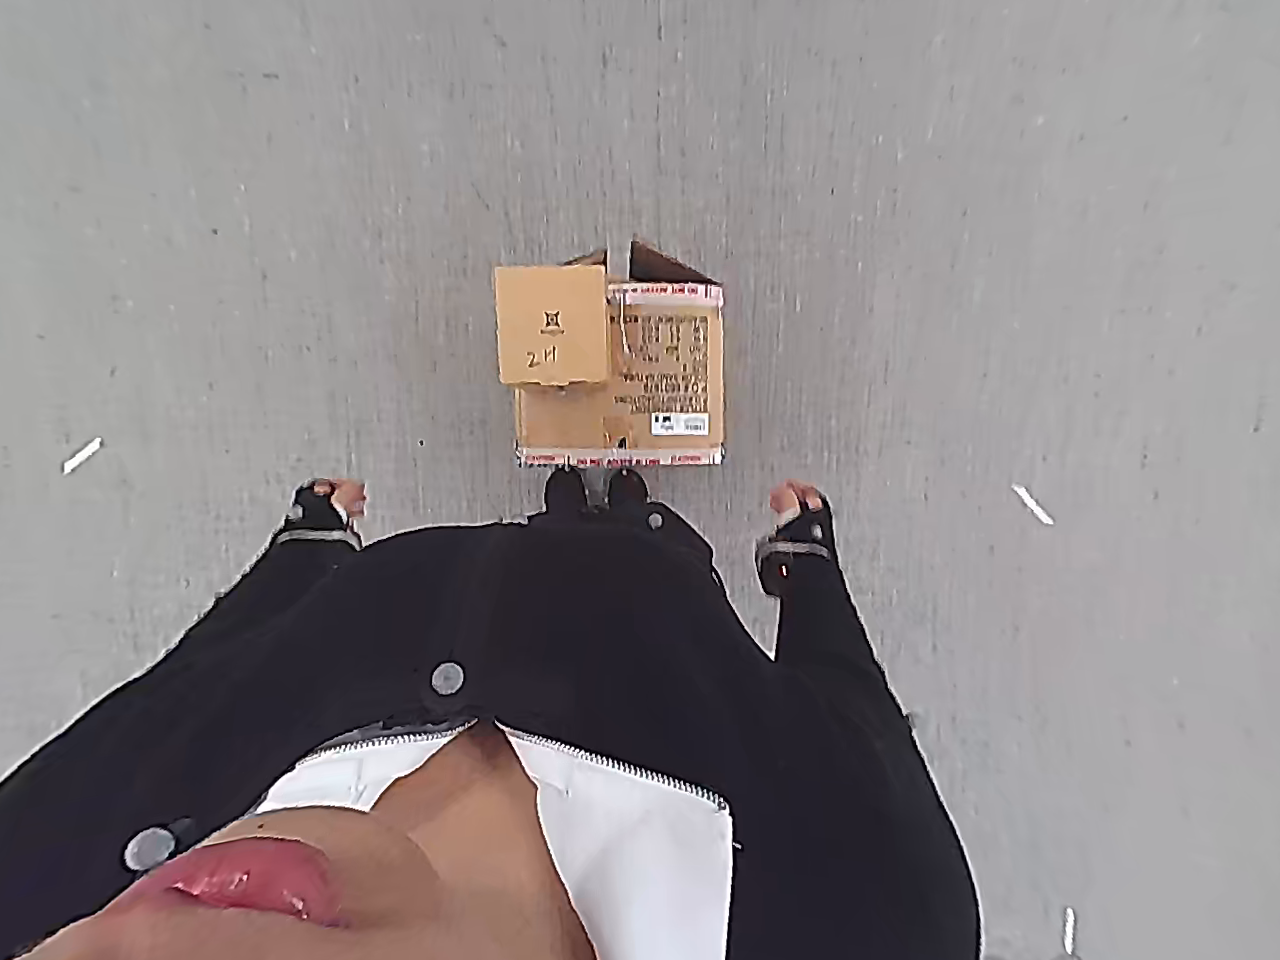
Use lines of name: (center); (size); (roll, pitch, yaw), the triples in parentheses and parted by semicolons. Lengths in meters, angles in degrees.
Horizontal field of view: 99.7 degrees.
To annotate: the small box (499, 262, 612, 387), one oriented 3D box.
small box: (-0.133, -0.249, 0.901); (0.168, 0.176, 0.179); (-1, 97, 0)
